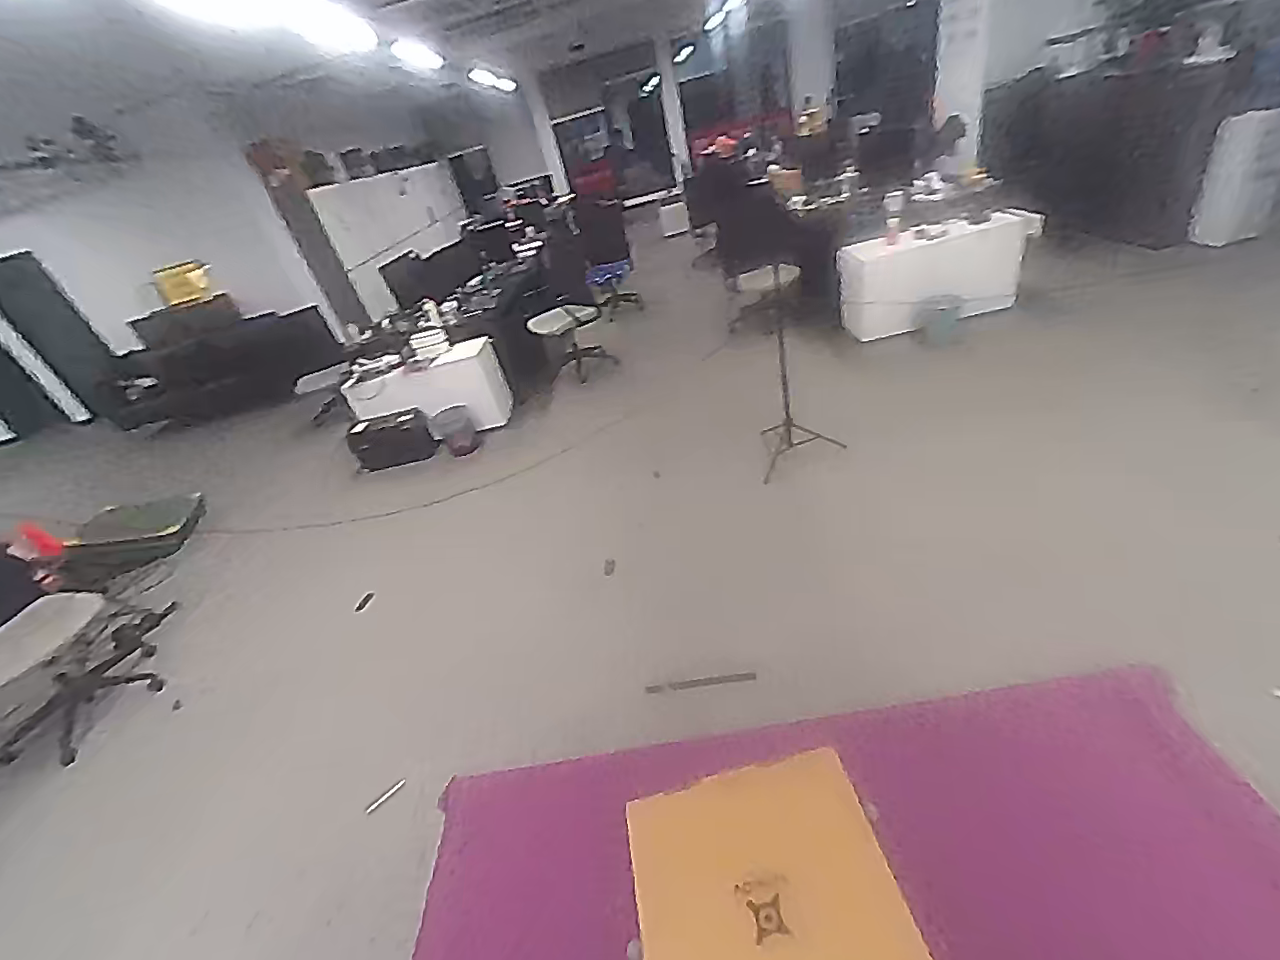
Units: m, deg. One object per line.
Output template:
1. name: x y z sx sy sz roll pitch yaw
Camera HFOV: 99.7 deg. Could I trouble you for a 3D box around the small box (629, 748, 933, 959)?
1. small box: 0.101 0.332 0.377 0.168 0.176 0.179 -17 32 1
